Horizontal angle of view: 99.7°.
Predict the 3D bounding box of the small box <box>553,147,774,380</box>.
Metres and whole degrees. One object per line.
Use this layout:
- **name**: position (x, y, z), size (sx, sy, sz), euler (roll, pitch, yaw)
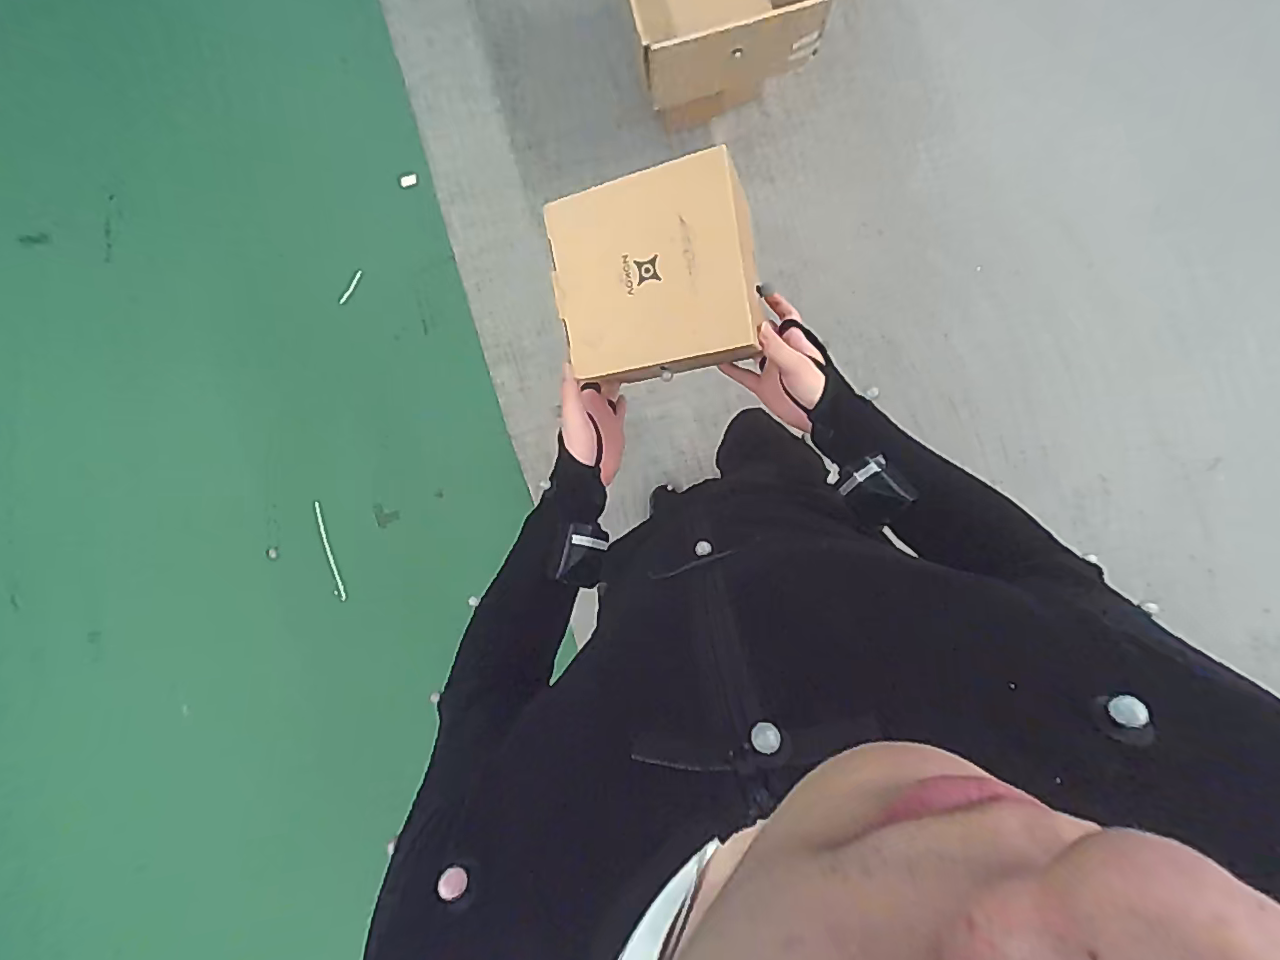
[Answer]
- **small box**: position (0.035, -0.199, 0.556), size (0.179, 0.176, 0.168), euler (-7, 97, 18)
